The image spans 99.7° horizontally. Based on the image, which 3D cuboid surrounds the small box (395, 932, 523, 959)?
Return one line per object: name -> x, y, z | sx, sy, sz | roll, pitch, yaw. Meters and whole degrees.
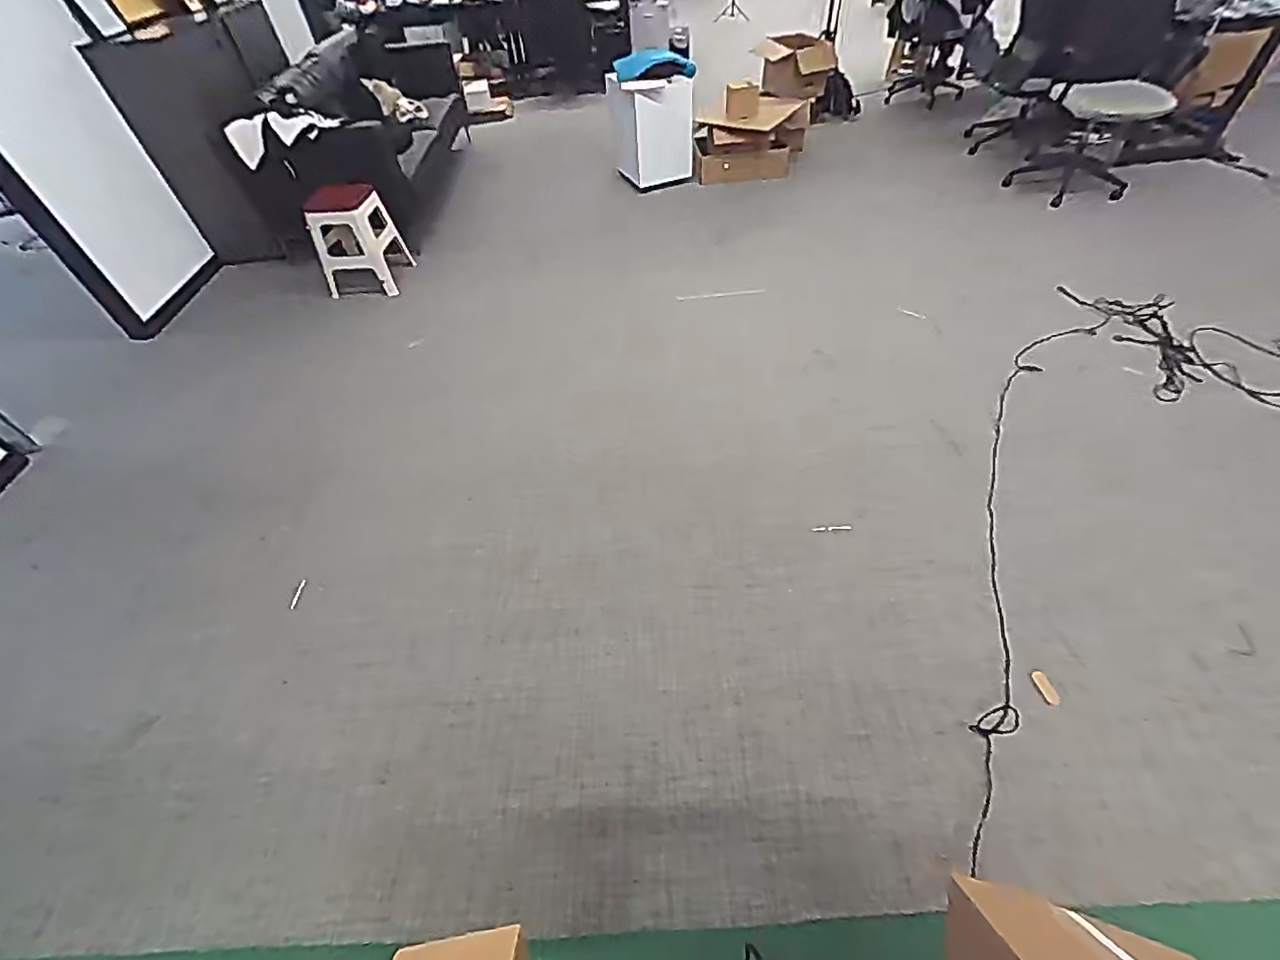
small box -> -0.224, 0.688, 0.626 | 0.168, 0.179, 0.176 | -9, 86, -4
